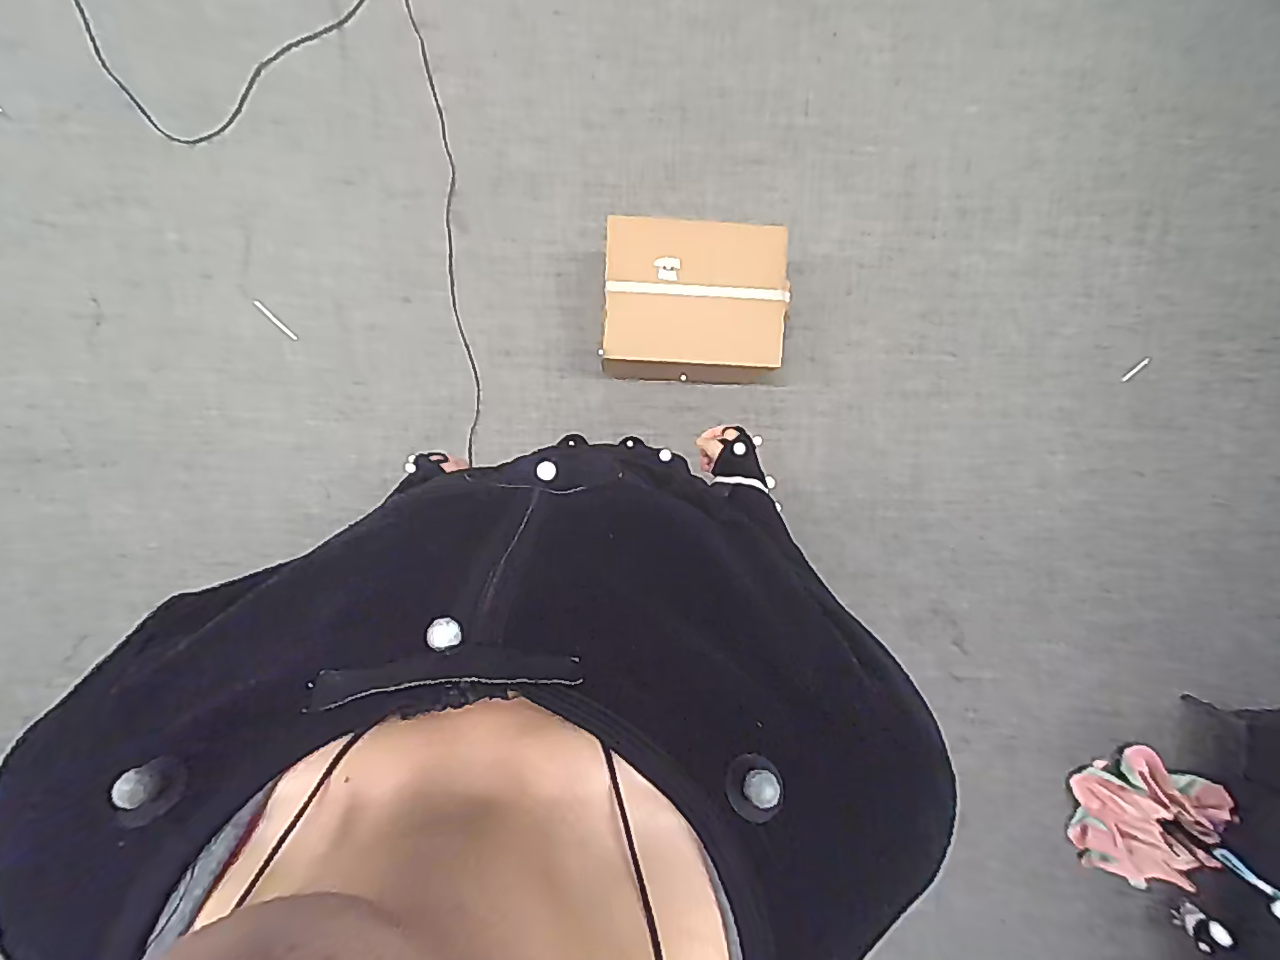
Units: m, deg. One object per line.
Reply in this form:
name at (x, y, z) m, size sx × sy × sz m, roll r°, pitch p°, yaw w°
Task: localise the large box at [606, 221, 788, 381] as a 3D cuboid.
large box at (0.125, -0.422, 1.351) m, size 0.408 × 0.320 × 0.320 m, roll 3°, pitch 93°, yaw -2°
